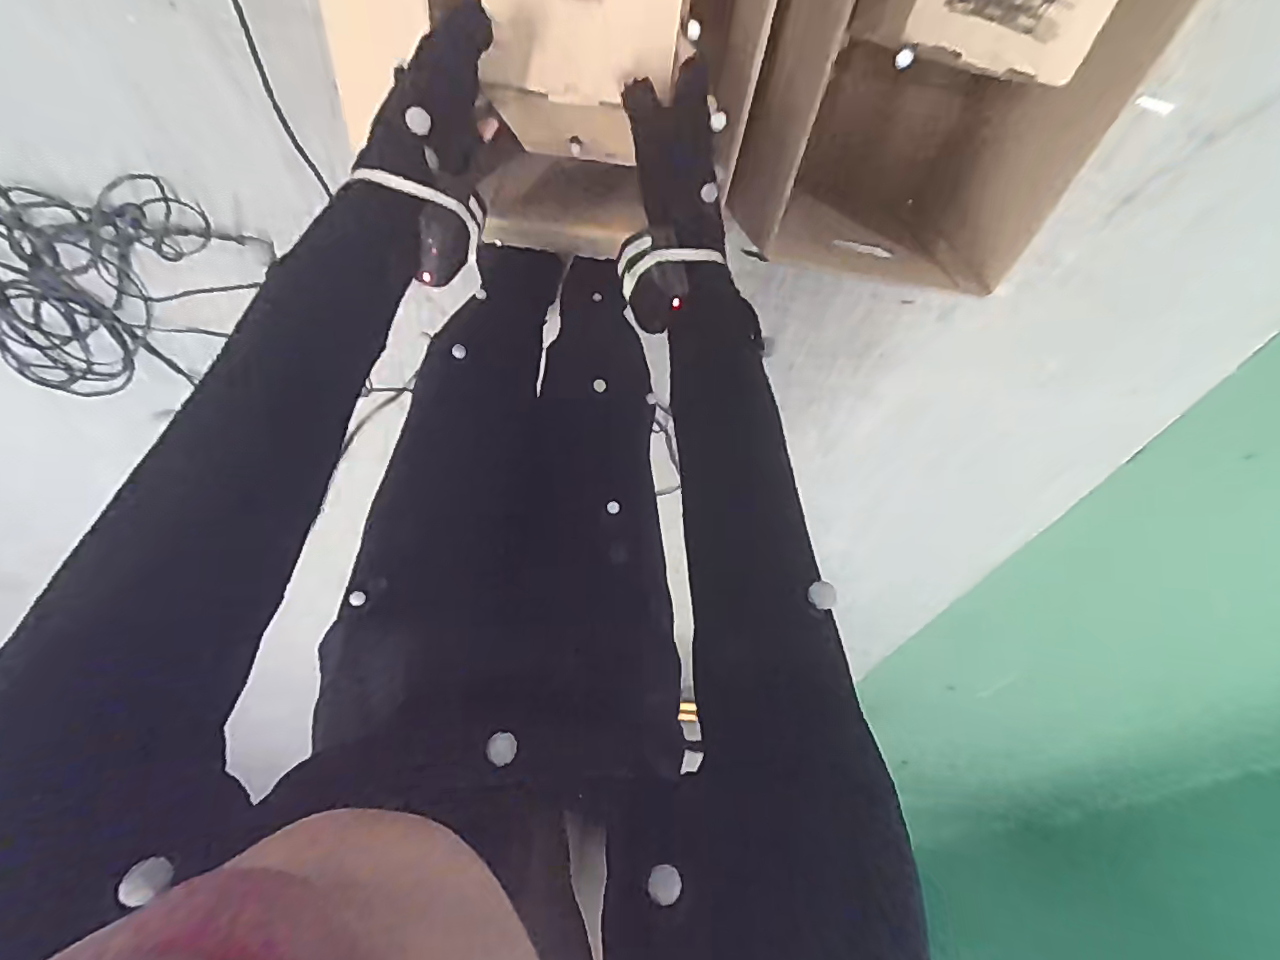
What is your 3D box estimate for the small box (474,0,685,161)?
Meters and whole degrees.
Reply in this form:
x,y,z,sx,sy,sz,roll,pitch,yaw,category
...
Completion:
x,y,z,sx,sy,sz,roll,pitch,yaw,category
-0.045,-0.430,0.511,0.168,0.176,0.179,8,108,0,small box
